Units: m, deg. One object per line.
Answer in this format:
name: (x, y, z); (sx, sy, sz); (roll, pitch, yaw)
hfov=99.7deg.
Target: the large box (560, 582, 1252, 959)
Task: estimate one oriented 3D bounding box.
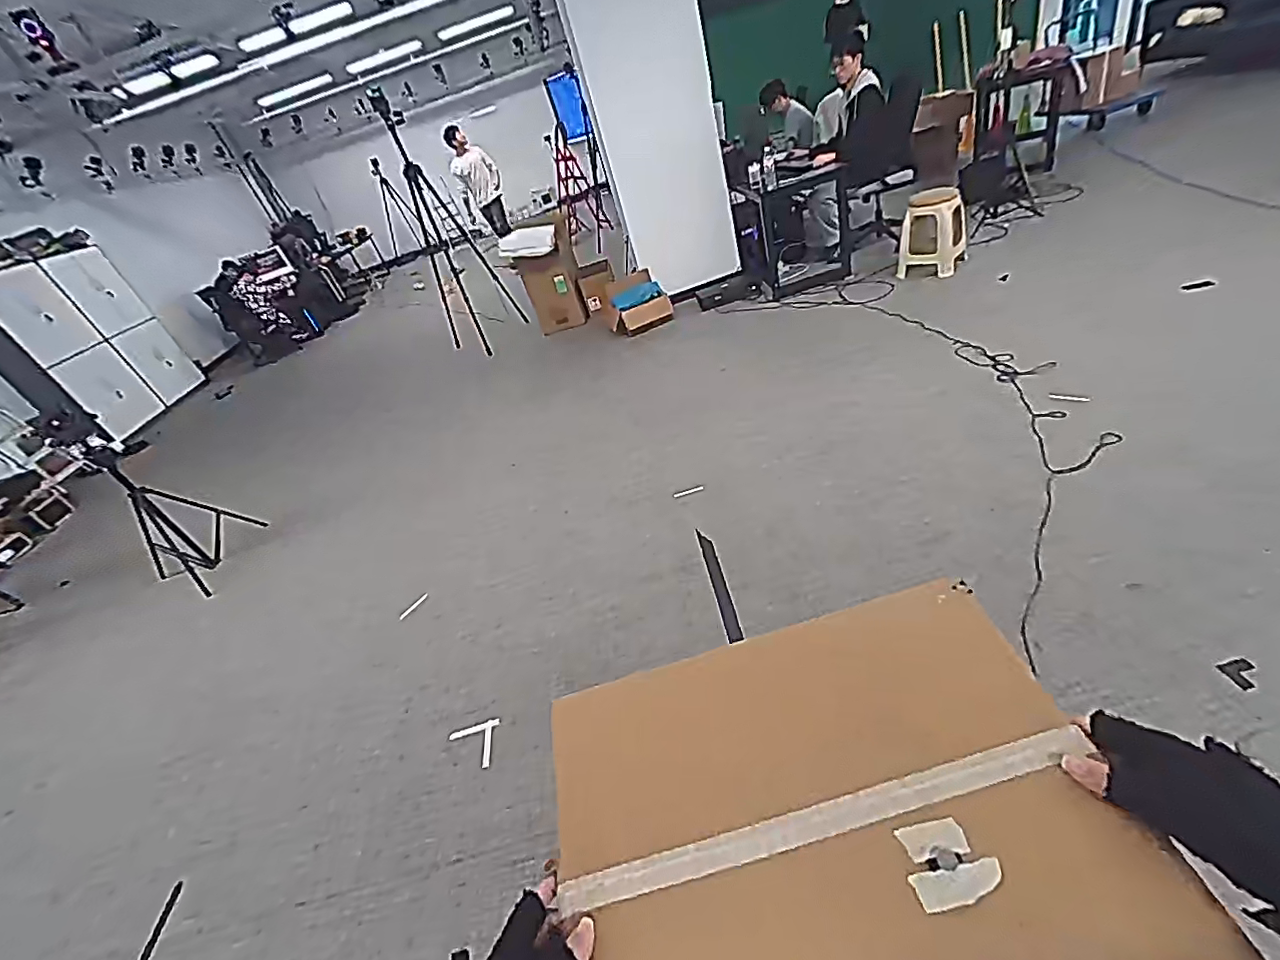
large box: (0.174, 0.362, 0.514); (0.408, 0.320, 0.320); (-18, 43, 0)
